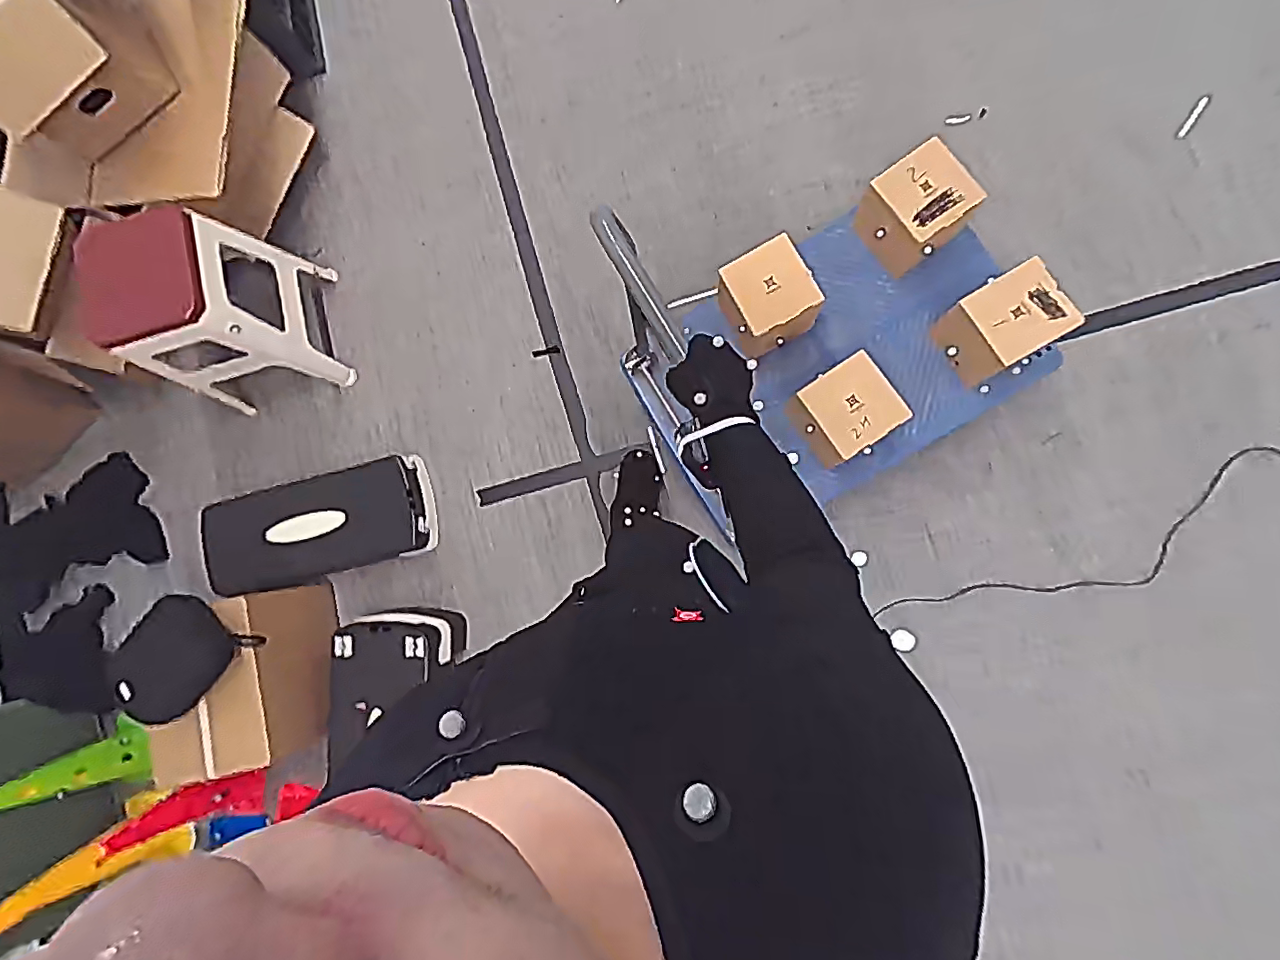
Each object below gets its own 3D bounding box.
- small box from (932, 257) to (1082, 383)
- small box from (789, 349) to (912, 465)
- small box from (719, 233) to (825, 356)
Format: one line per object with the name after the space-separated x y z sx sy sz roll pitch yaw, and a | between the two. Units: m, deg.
0.774 -0.333 1.163 0.179 0.176 0.168 -30 82 5 | small box
0.450 -0.152 1.192 0.168 0.176 0.179 -34 82 4 | small box
0.291 -0.414 1.235 0.168 0.176 0.179 -29 84 4 | small box
